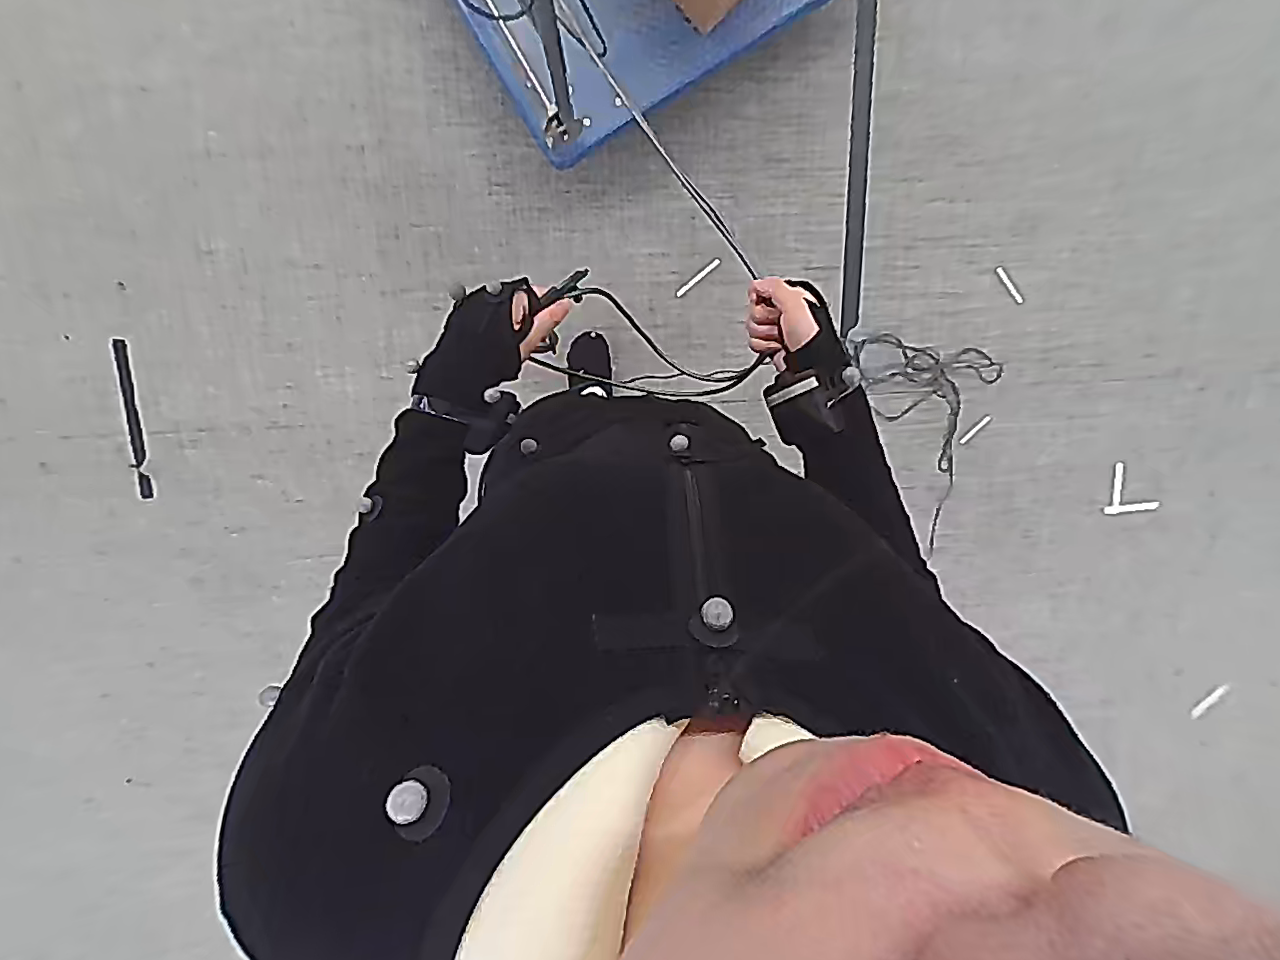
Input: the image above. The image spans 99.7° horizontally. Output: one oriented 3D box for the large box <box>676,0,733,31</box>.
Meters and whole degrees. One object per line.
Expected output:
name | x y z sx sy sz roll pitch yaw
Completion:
large box | 0.105 -1.133 0.925 0.408 0.320 0.320 43 96 -12
